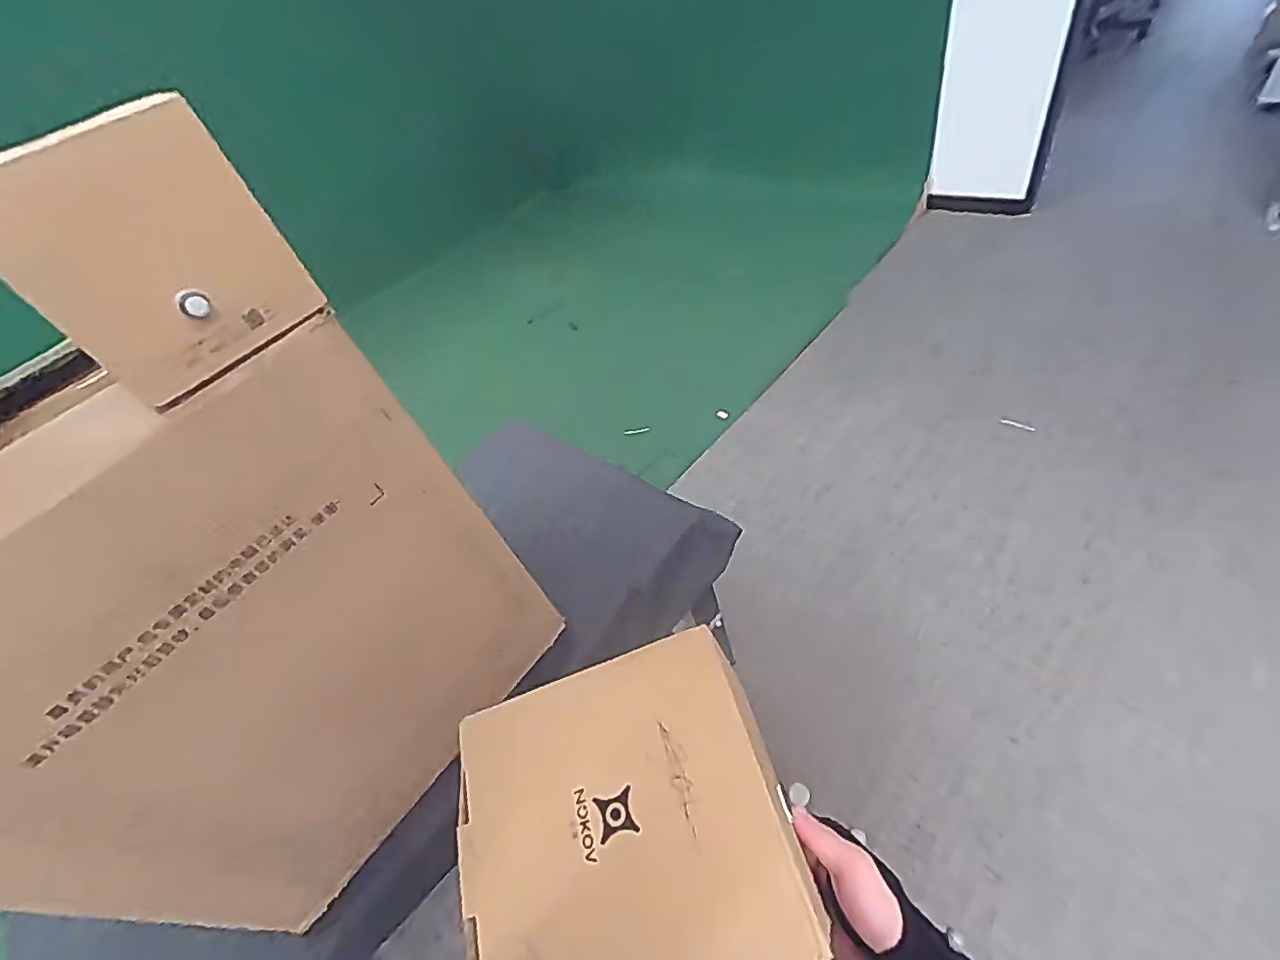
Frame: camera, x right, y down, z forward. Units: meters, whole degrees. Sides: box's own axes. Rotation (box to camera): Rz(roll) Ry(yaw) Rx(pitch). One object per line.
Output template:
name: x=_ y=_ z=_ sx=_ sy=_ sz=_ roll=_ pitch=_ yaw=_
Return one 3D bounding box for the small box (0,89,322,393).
small box: x=-0.417 y=-0.198 z=0.453 sx=0.179 sy=0.176 sz=0.168 roll=26 pitch=61 yaw=34
